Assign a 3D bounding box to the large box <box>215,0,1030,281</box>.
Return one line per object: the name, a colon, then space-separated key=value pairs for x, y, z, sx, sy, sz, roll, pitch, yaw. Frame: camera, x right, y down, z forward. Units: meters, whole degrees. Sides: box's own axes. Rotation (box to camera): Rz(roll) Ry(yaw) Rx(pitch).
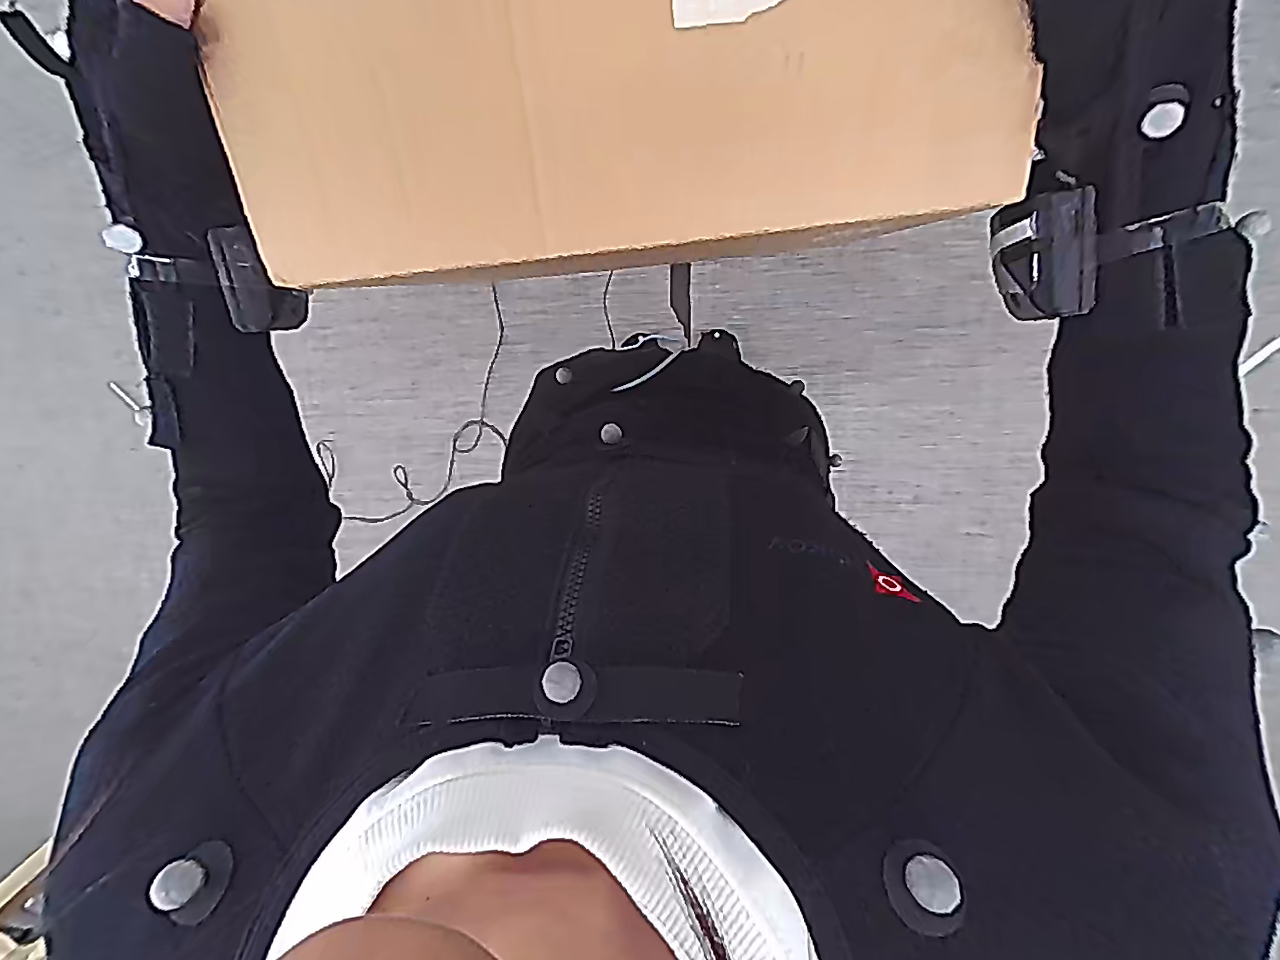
large box: x=-0.011 y=-0.330 z=0.388 sx=0.408 sy=0.320 sz=0.320 roll=-4 pitch=111 yaw=7
